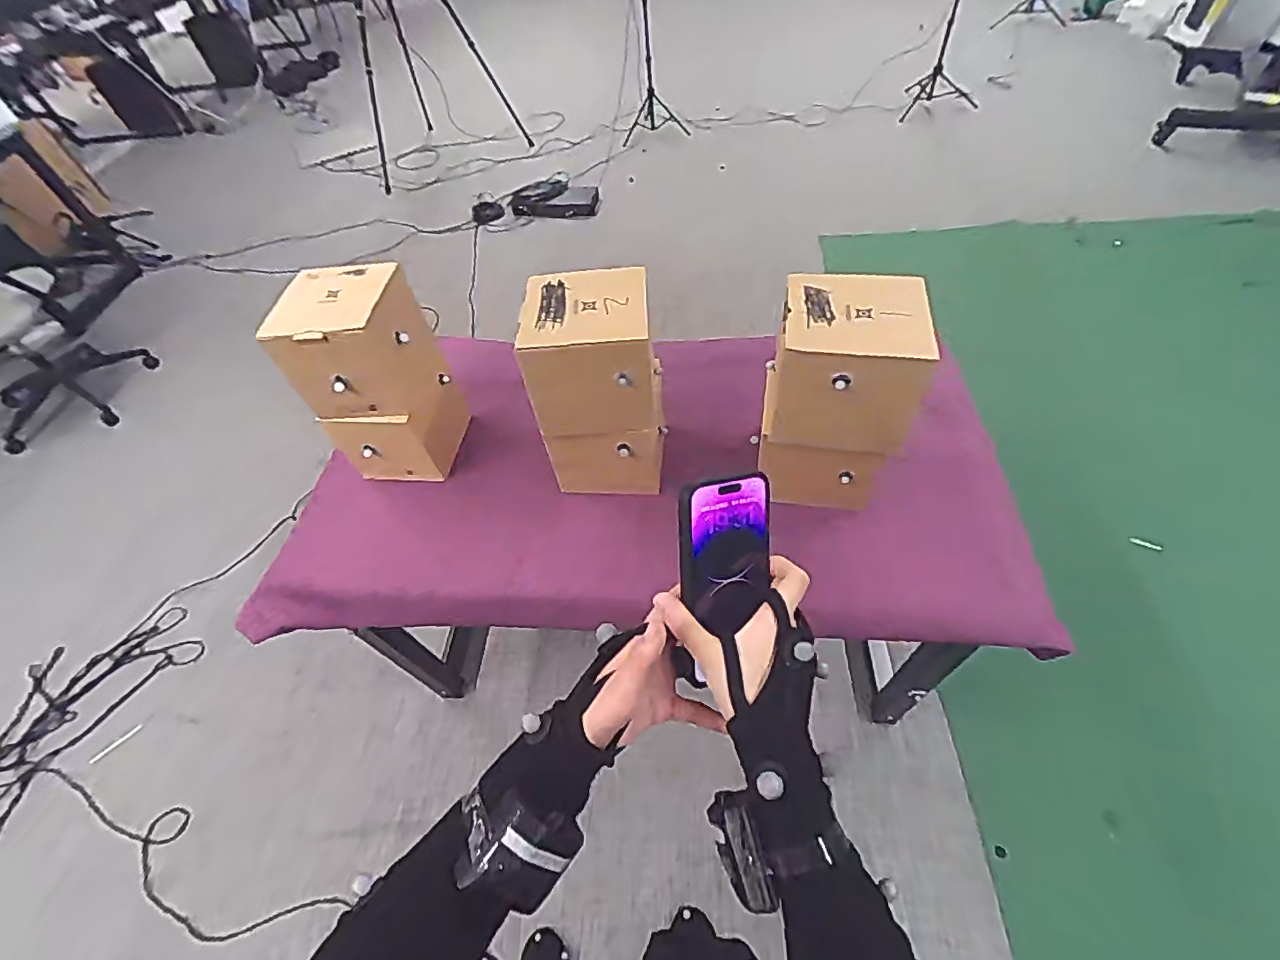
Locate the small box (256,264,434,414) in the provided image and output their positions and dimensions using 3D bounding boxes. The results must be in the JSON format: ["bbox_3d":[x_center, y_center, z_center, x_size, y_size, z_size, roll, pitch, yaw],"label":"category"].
[{"bbox_3d":[-0.454,-0.218,0.869,0.168,0.176,0.179,-3,53,5],"label":"small box"}]

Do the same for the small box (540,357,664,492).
[{"bbox_3d":[-0.053,-0.091,0.926,0.179,0.176,0.168,1,52,8],"label":"small box"}]

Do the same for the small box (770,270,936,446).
[{"bbox_3d":[0.273,-0.163,0.733,0.179,0.176,0.168,6,53,11],"label":"small box"}]

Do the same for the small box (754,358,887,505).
[{"bbox_3d":[0.283,-0.075,0.872,0.179,0.176,0.168,5,53,13],"label":"small box"}]

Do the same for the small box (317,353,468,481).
[{"bbox_3d":[-0.437,-0.112,0.994,0.168,0.176,0.179,1,53,8],"label":"small box"}]
